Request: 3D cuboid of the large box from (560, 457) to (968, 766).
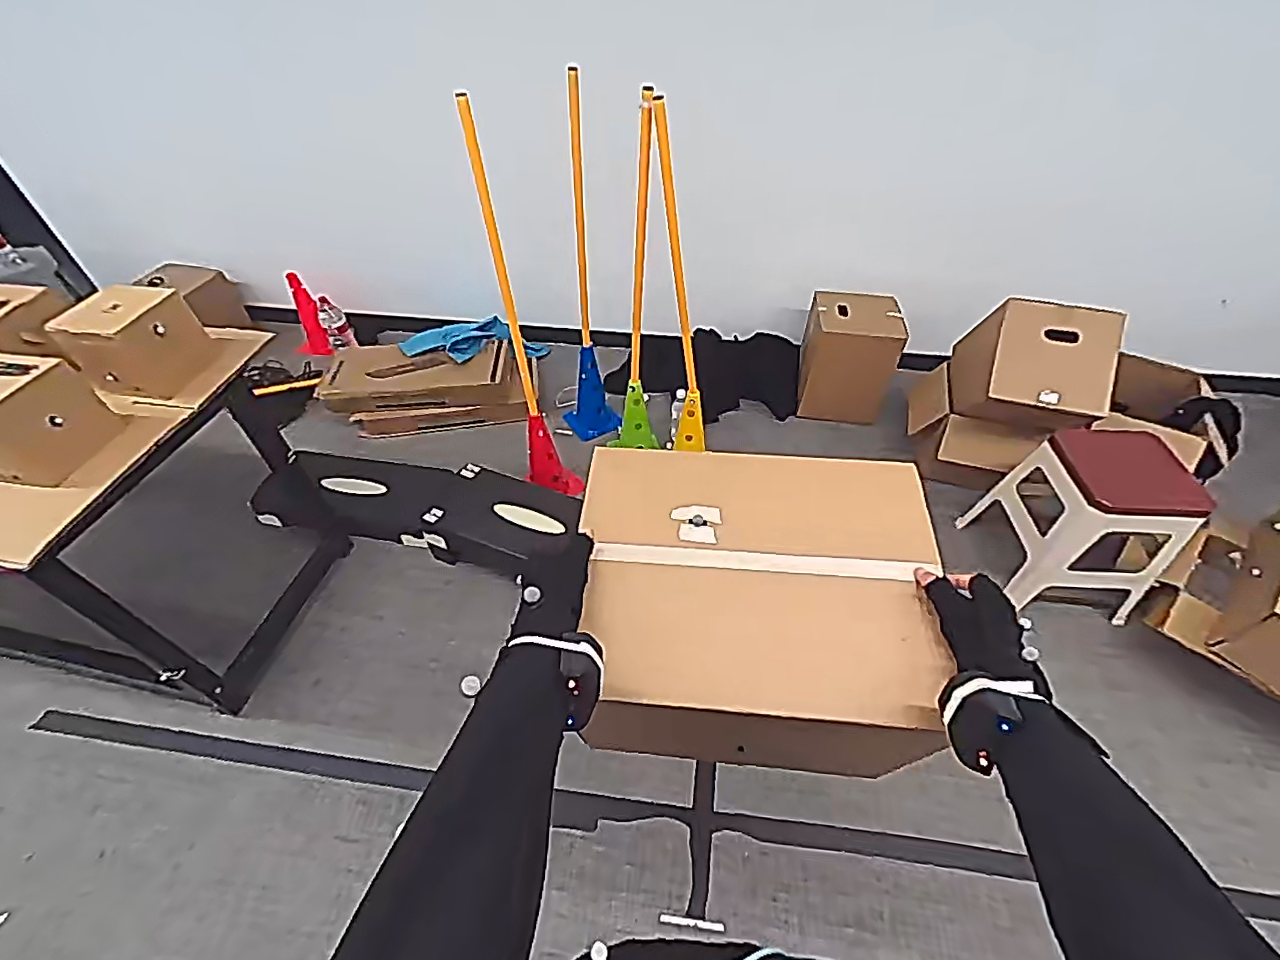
[{"bbox_3d":[0.137,0.186,0.734,0.408,0.320,0.320,3,54,6],"label":"large box"}]
